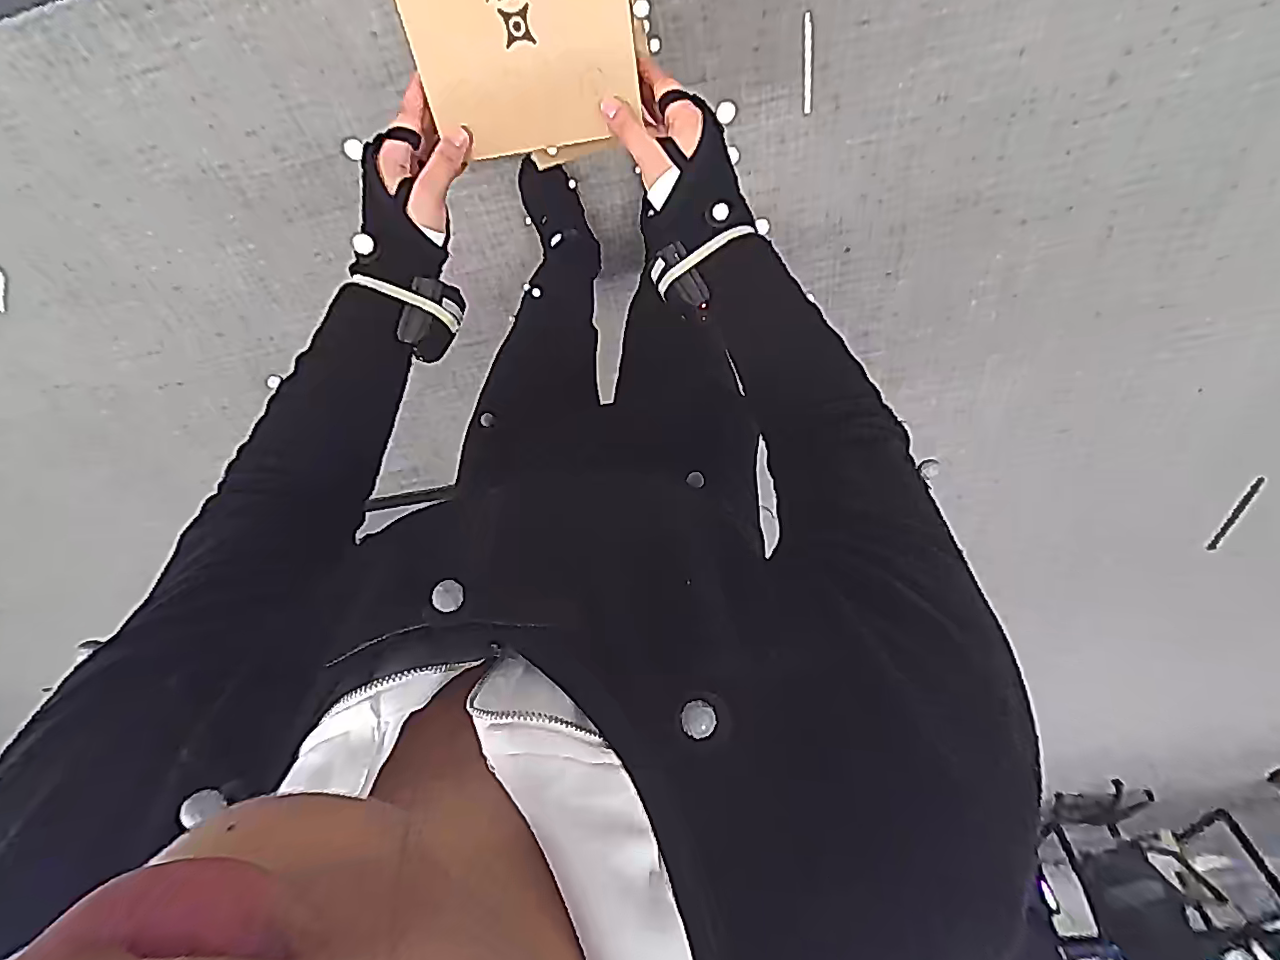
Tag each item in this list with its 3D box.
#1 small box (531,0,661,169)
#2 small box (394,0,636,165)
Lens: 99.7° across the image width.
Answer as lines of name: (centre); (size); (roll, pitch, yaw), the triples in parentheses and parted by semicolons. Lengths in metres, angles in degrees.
small box: (-0.075, -0.523, 0.675); (0.168, 0.176, 0.179); (-11, 132, 9)
small box: (-0.095, -0.390, 0.455); (0.168, 0.176, 0.179); (-8, 129, 4)
